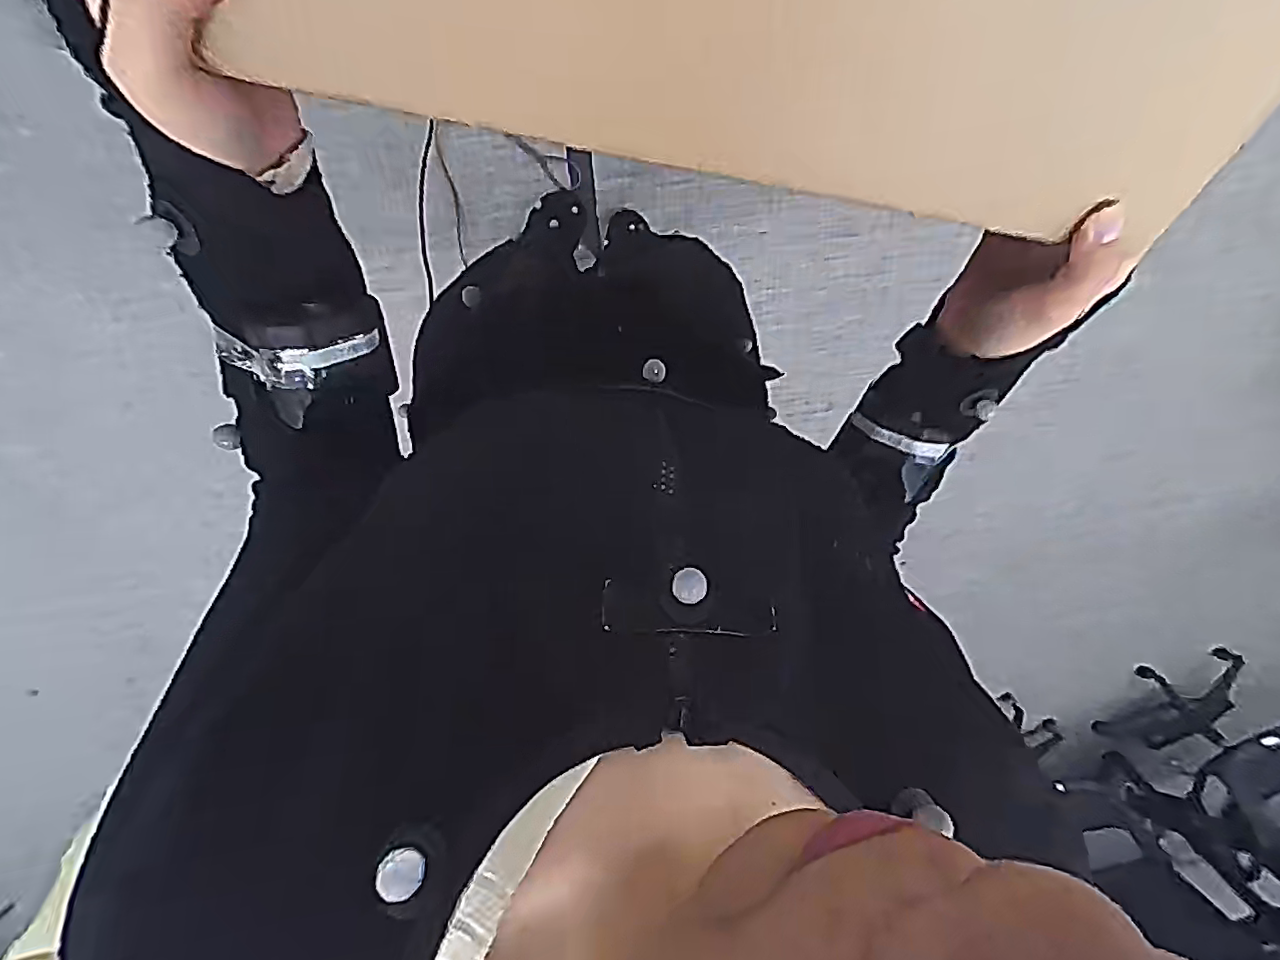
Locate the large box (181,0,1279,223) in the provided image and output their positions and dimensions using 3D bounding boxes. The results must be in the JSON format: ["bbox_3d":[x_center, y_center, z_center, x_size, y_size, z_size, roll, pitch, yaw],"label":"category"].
[{"bbox_3d":[0.053,-0.343,0.213,0.408,0.320,0.320,3,138,-11],"label":"large box"}]
